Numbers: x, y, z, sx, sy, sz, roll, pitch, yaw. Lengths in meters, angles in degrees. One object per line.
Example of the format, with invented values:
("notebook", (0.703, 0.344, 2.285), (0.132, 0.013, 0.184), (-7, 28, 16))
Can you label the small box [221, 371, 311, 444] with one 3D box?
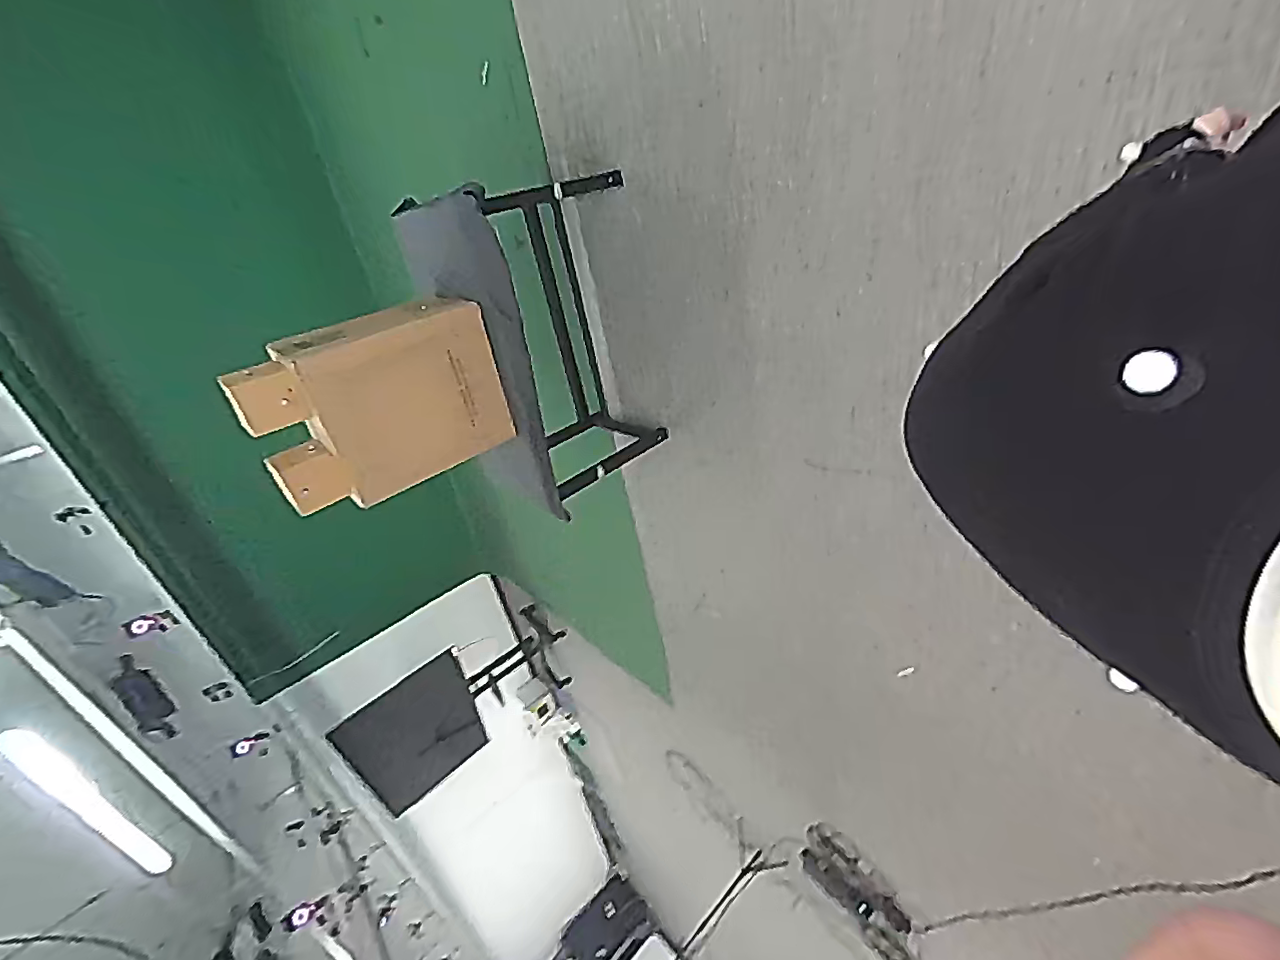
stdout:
("small box", (-1.168, -0.234, 1.698), (0.179, 0.176, 0.168), (22, 132, 41))

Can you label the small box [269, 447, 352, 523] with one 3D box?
("small box", (-1.114, 0.012, 1.837), (0.168, 0.176, 0.179), (22, 132, 40))
